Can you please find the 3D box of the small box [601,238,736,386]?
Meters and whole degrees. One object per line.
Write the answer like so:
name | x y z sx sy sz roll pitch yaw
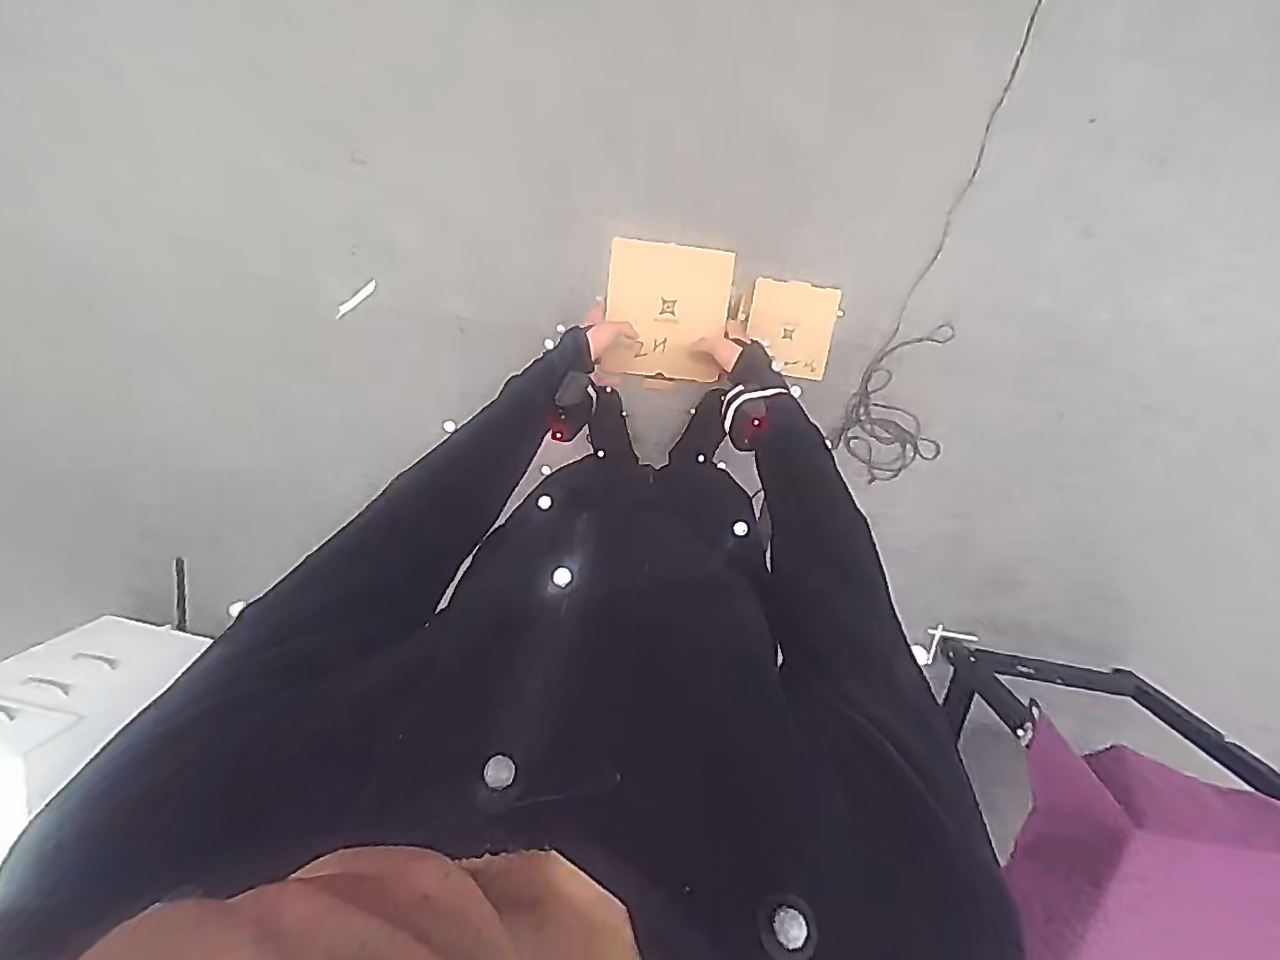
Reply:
small box | 0.032 -0.242 0.797 0.168 0.176 0.179 5 106 -4

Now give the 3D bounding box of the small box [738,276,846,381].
small box | 0.302 -0.305 1.113 0.168 0.176 0.179 10 102 4
